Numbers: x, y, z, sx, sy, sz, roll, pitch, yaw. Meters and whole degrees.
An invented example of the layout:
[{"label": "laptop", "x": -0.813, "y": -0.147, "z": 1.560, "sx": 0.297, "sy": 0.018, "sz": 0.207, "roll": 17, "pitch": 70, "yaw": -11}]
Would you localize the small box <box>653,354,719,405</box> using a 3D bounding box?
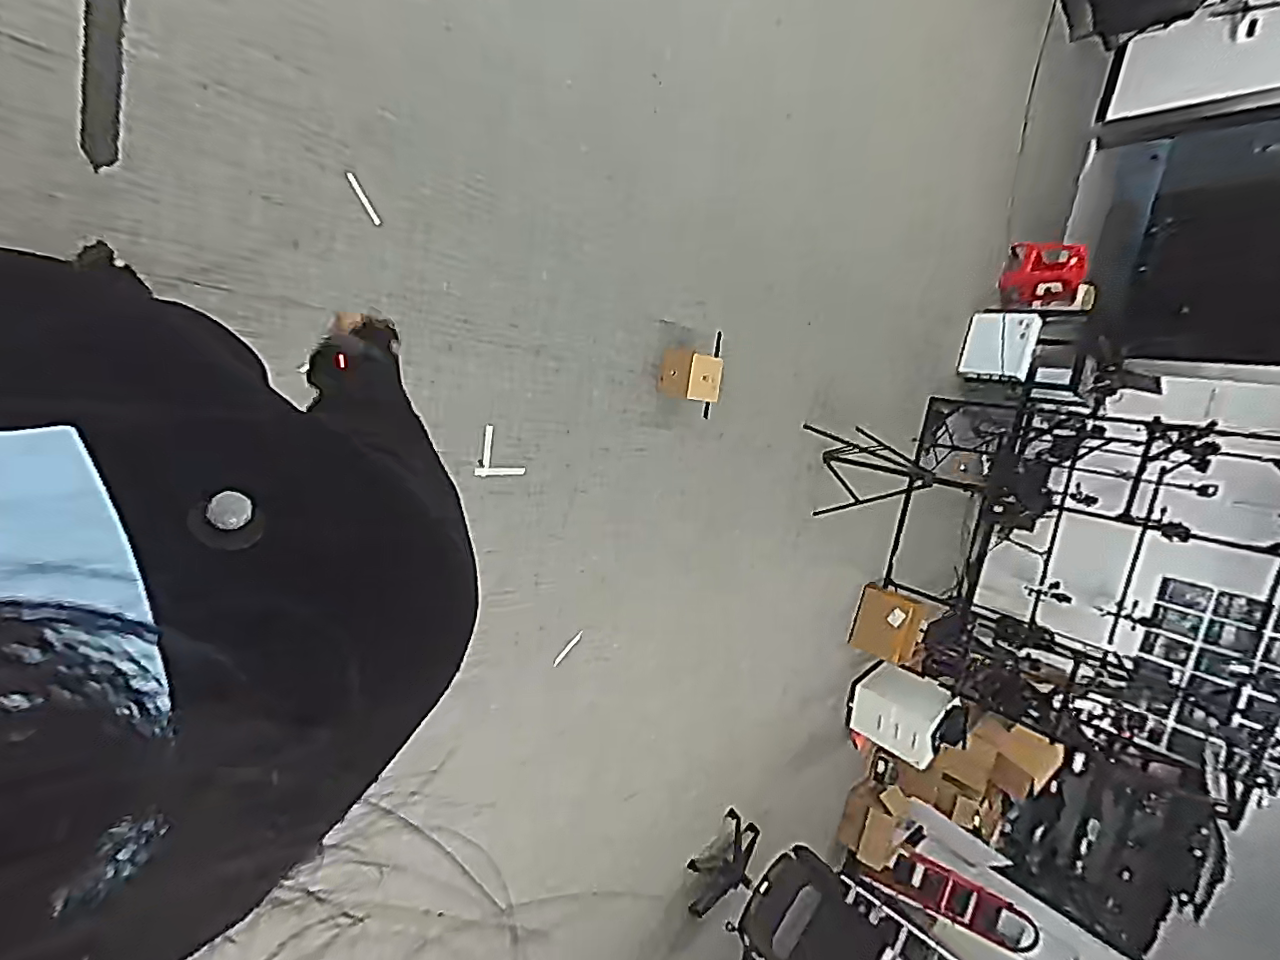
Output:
[{"label": "small box", "x": 0.171, "y": -0.386, "z": 2.069, "sx": 0.179, "sy": 0.176, "sz": 0.168, "roll": -1, "pitch": 104, "yaw": -44}]
